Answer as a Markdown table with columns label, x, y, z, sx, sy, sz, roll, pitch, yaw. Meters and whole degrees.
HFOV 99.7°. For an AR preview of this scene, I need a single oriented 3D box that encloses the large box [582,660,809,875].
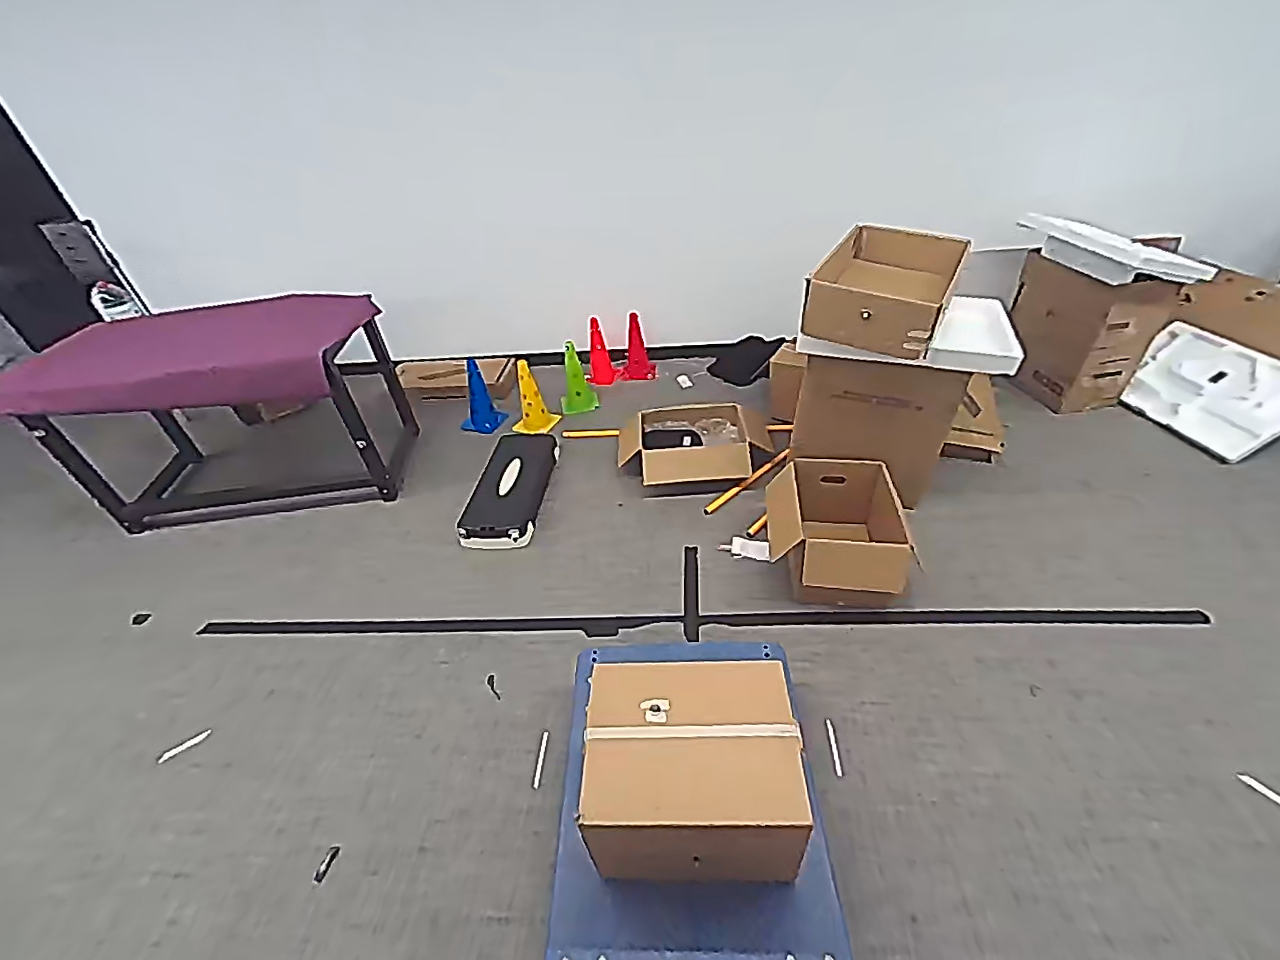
| label | x | y | z | sx | sy | sz | roll | pitch | yaw |
| --- | --- | --- | --- | --- | --- | --- | --- | --- | --- |
| large box | 0.111 | 0.613 | 1.151 | 0.408 | 0.320 | 0.320 | -4 | 38 | 4 |
